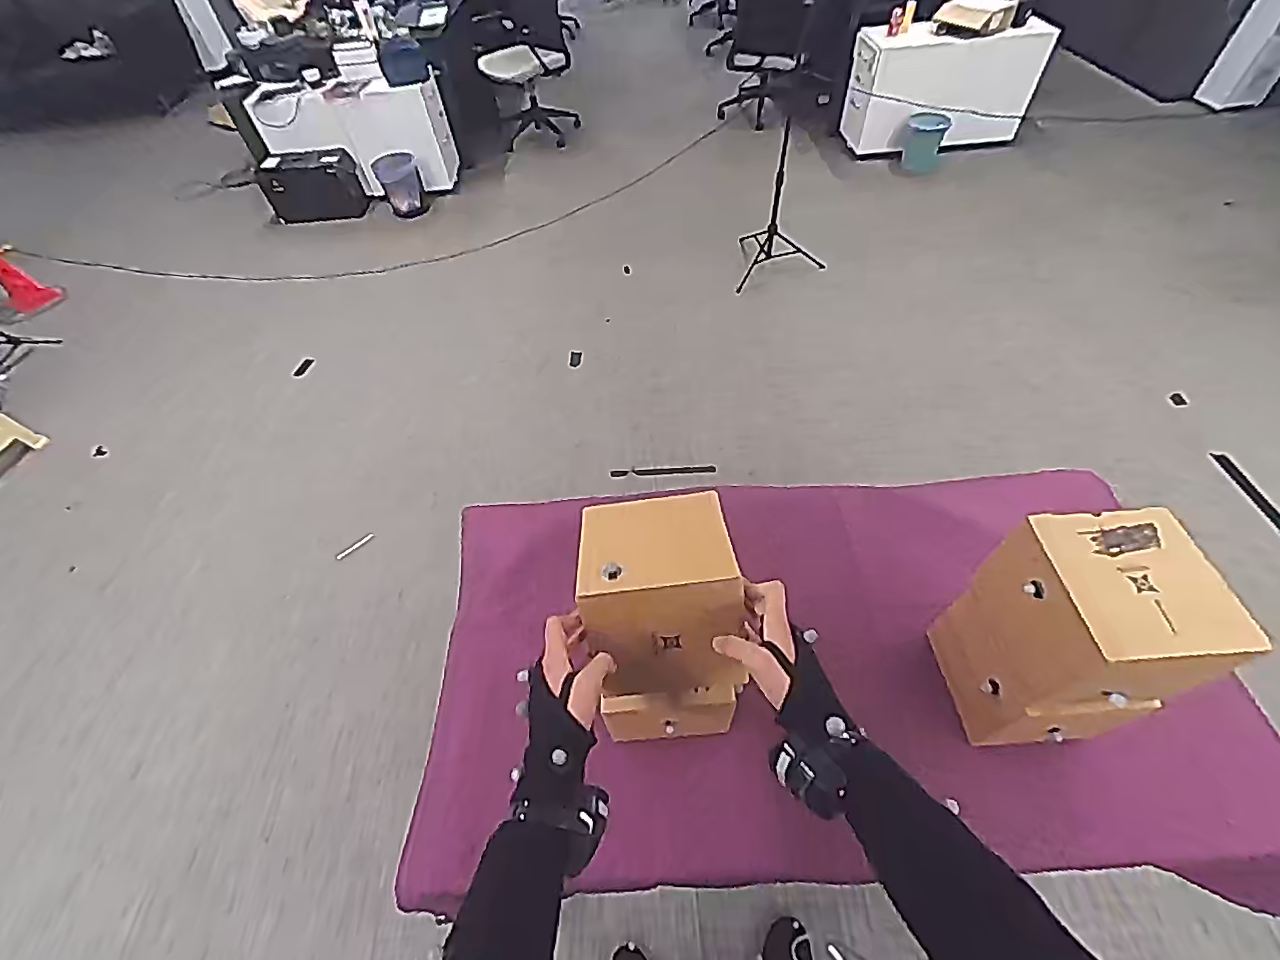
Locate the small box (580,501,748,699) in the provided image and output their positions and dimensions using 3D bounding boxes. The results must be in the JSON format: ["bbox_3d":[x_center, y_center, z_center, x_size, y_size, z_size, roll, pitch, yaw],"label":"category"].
[{"bbox_3d":[0.029,0.140,0.666,0.179,0.168,0.176,-7,32,3],"label":"small box"}]

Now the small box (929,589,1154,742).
[{"bbox_3d":[0.550,0.266,0.775,0.168,0.176,0.179,-4,52,1],"label":"small box"}]

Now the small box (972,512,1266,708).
[{"bbox_3d":[0.541,0.159,0.651,0.168,0.176,0.179,-4,53,2],"label":"small box"}]
